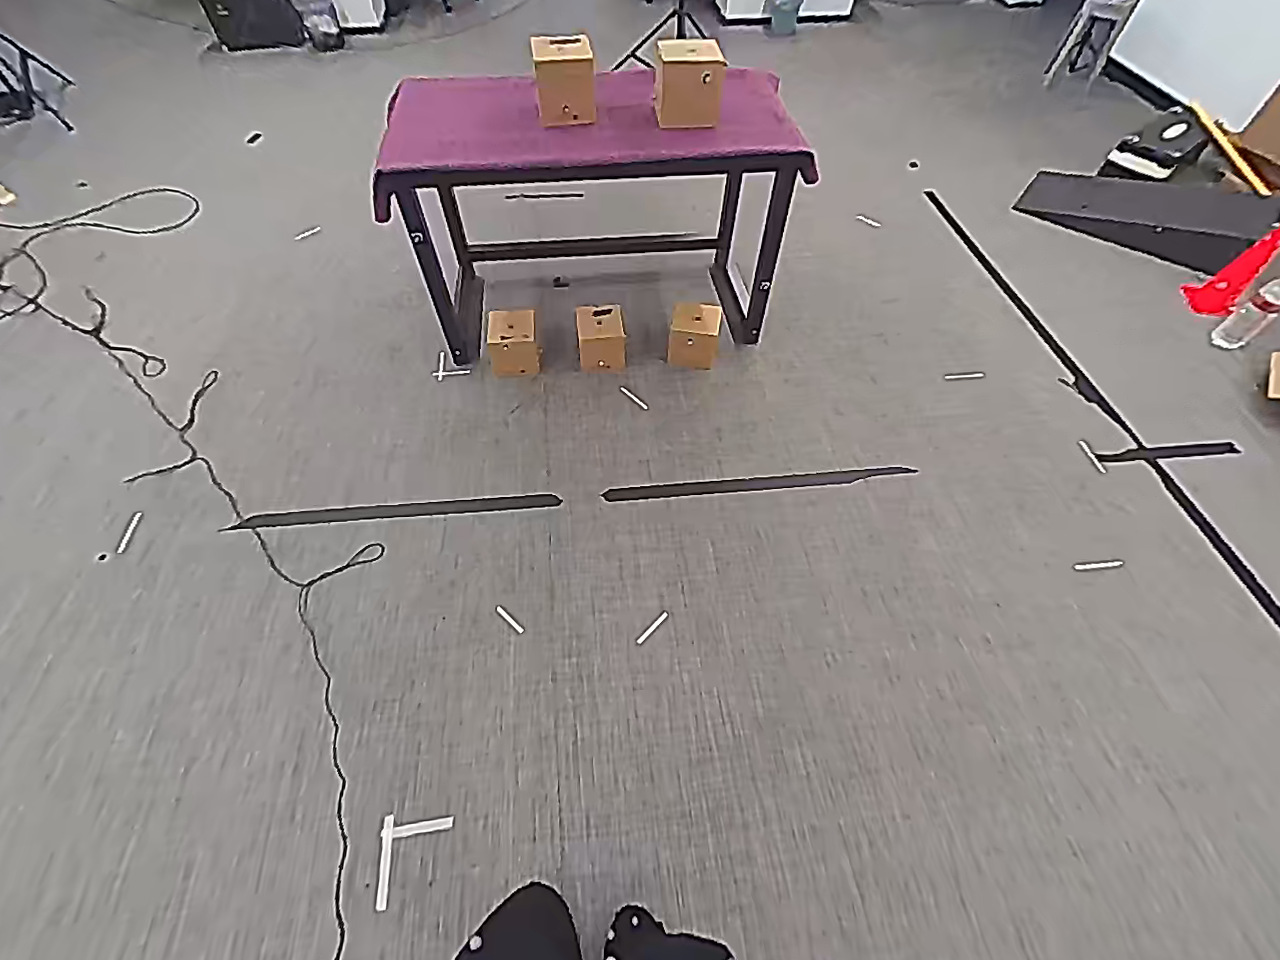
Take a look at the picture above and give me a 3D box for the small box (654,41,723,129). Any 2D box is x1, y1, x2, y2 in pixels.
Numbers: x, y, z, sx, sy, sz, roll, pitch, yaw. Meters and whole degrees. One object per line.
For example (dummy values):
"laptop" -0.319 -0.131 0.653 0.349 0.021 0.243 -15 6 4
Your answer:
"small box" 0.138 -1.162 1.595 0.179 0.176 0.168 -4 54 -3

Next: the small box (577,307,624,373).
"small box" -0.149 -0.526 2.038 0.168 0.176 0.179 -6 56 -4

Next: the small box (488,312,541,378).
"small box" -0.465 -0.504 2.020 0.168 0.176 0.179 -4 55 -4

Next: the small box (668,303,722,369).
"small box" 0.207 -0.544 2.056 0.179 0.176 0.168 8 56 6
